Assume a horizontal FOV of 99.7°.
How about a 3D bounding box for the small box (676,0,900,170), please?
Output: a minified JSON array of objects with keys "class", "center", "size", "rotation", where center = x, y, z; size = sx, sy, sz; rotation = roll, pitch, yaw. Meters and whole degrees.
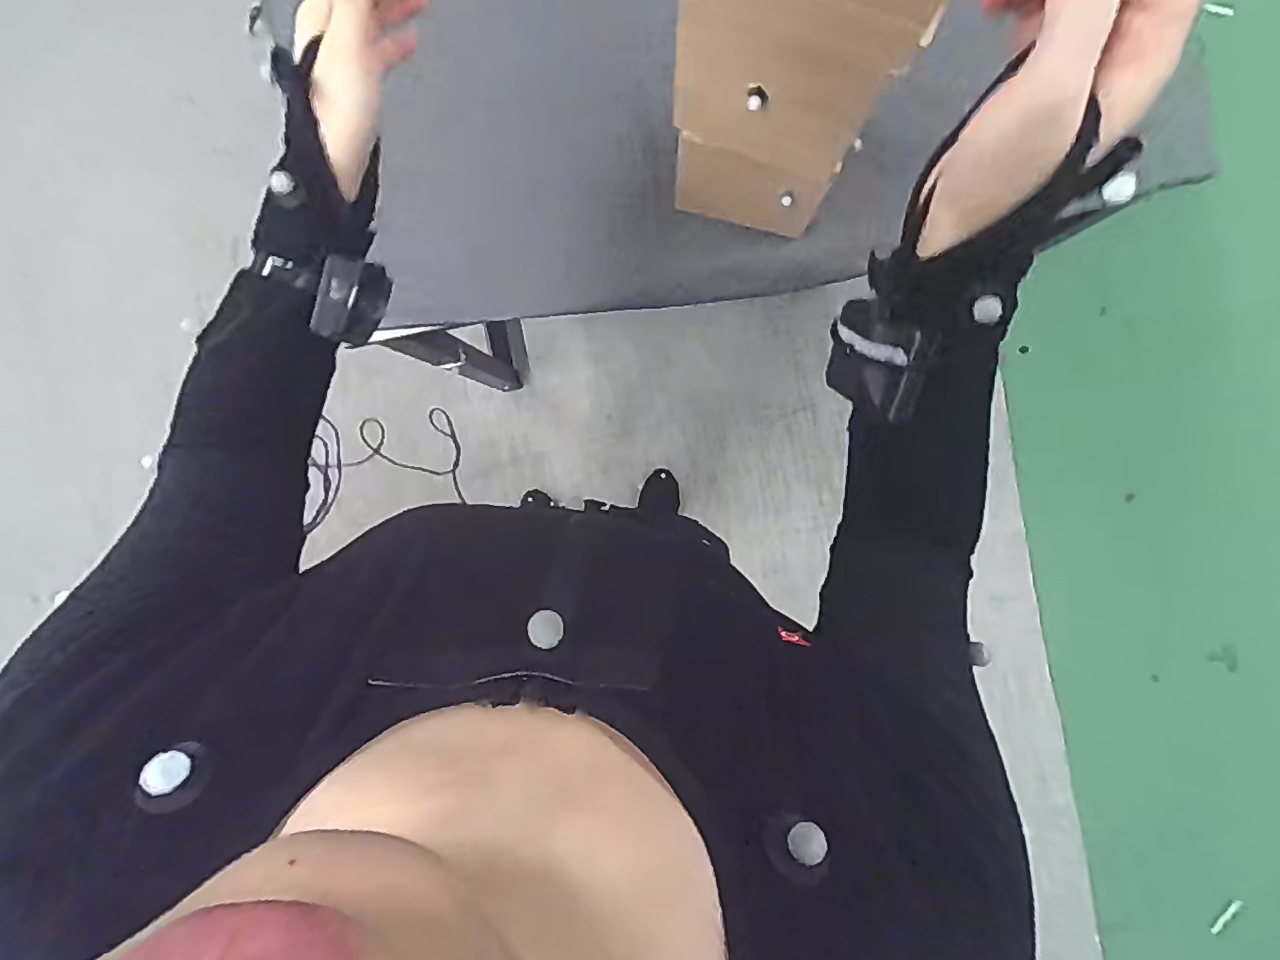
[{"class":"small box","center":[0.142,-0.415,0.482],"size":[0.179,0.176,0.168],"rotation":[23,93,1]}]
